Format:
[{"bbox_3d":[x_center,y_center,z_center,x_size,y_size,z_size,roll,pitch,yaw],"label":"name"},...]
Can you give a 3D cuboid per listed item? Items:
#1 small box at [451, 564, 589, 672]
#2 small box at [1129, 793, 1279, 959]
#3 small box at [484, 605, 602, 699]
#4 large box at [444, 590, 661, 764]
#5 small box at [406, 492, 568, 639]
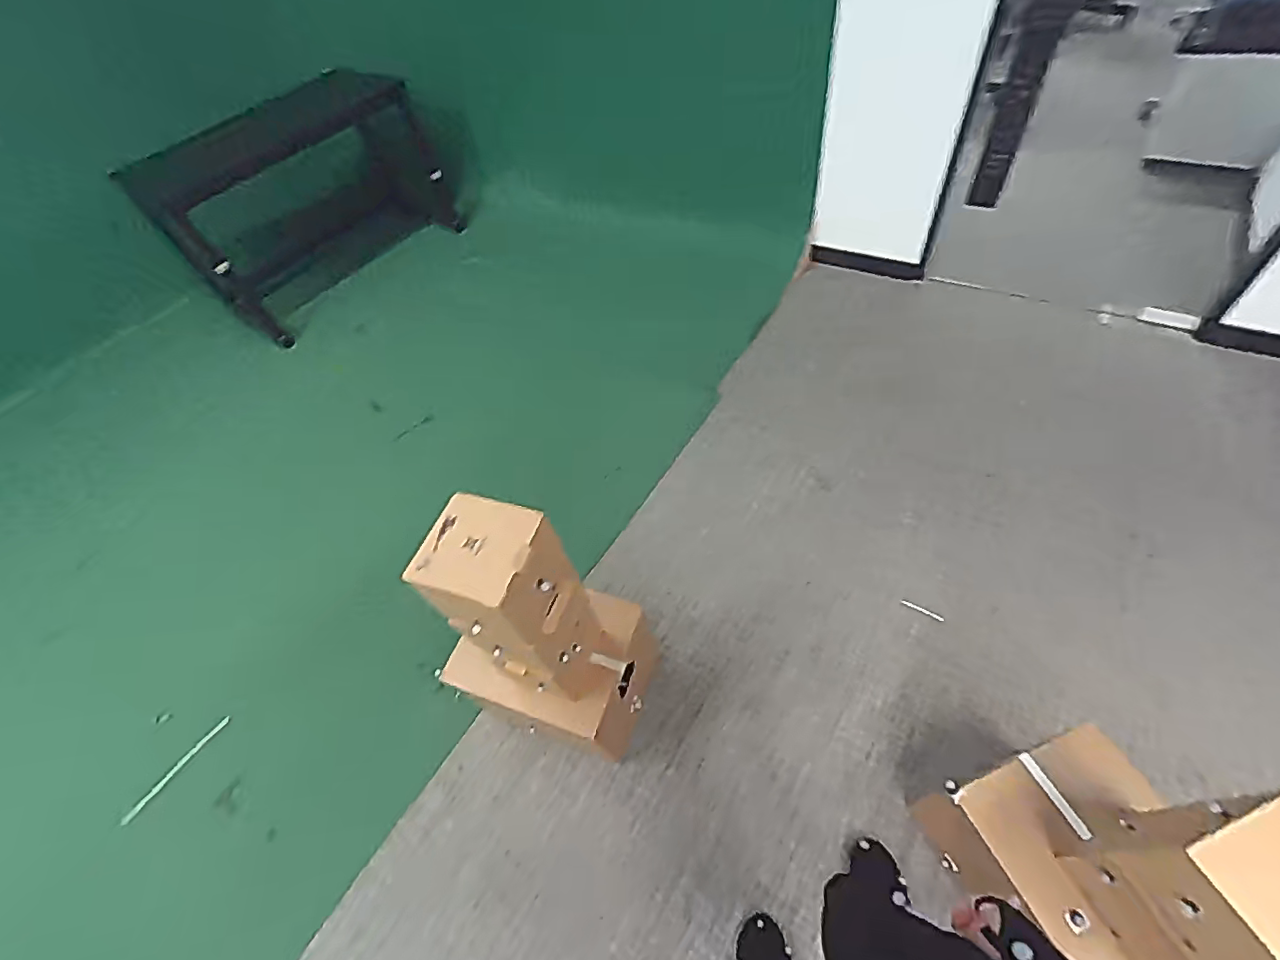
[{"bbox_3d":[-0.215,0.248,1.032,0.179,0.176,0.168,11,57,19],"label":"small box"},{"bbox_3d":[0.757,0.509,0.654,0.179,0.176,0.168,-21,52,-8],"label":"small box"},{"bbox_3d":[-0.196,0.346,1.161,0.168,0.176,0.179,13,57,19],"label":"small box"},{"bbox_3d":[-0.195,0.473,1.374,0.408,0.320,0.320,11,55,20],"label":"large box"},{"bbox_3d":[-0.241,0.148,0.904,0.179,0.176,0.168,13,57,18],"label":"small box"}]
